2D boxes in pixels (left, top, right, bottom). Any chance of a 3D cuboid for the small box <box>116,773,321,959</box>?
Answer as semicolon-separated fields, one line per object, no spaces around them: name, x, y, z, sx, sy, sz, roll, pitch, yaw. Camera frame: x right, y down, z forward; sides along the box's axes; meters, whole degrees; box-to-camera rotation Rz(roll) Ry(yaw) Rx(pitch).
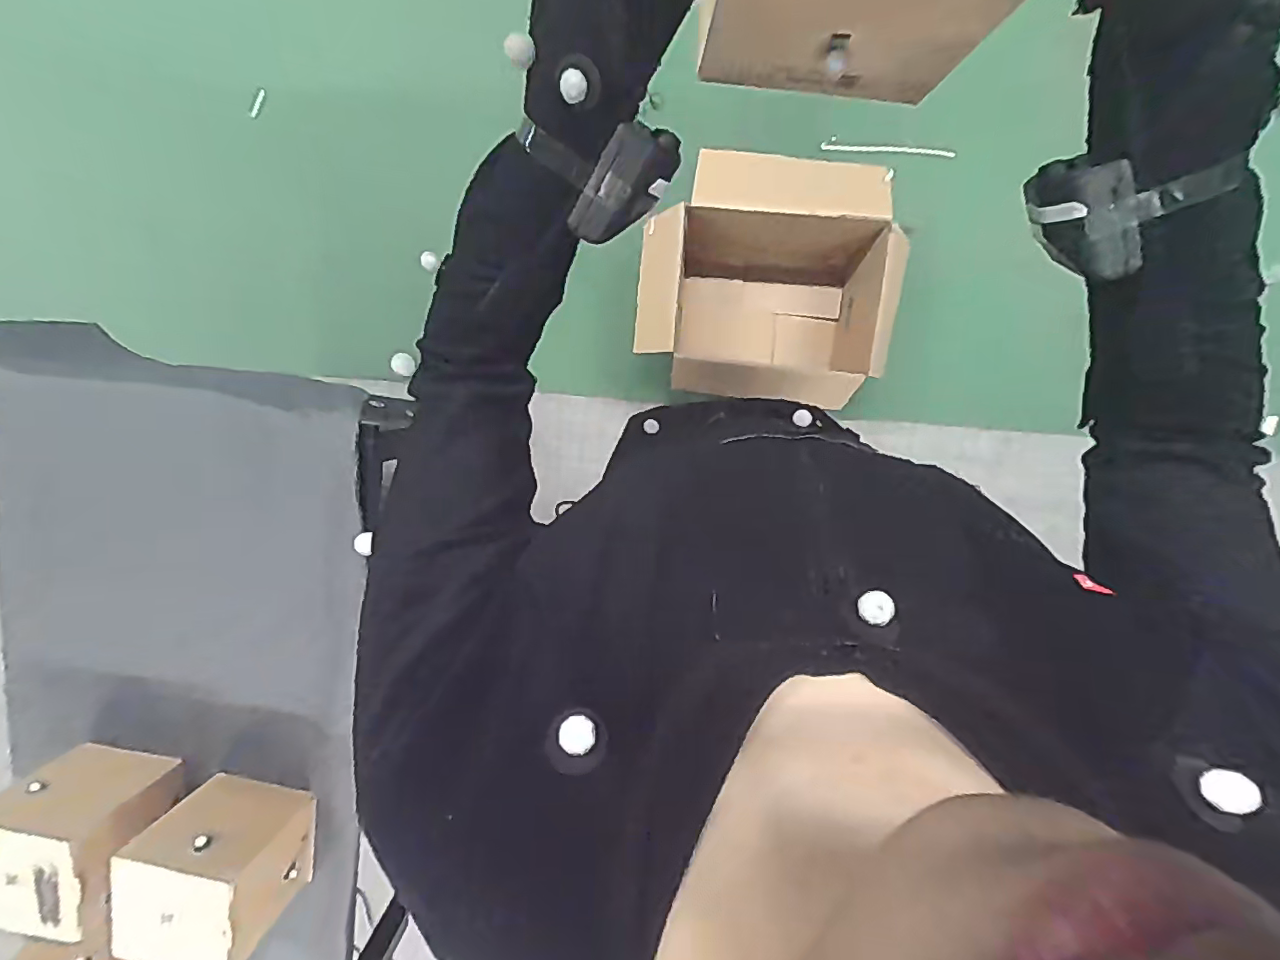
small box;-0.620;0.576;0.810;0.179;0.176;0.168;9;99;4

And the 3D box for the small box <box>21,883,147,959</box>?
small box;-0.853;0.793;0.863;0.179;0.176;0.168;9;99;4

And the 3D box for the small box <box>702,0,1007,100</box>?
small box;0.132;-0.358;0.299;0.168;0.176;0.179;4;97;-3
